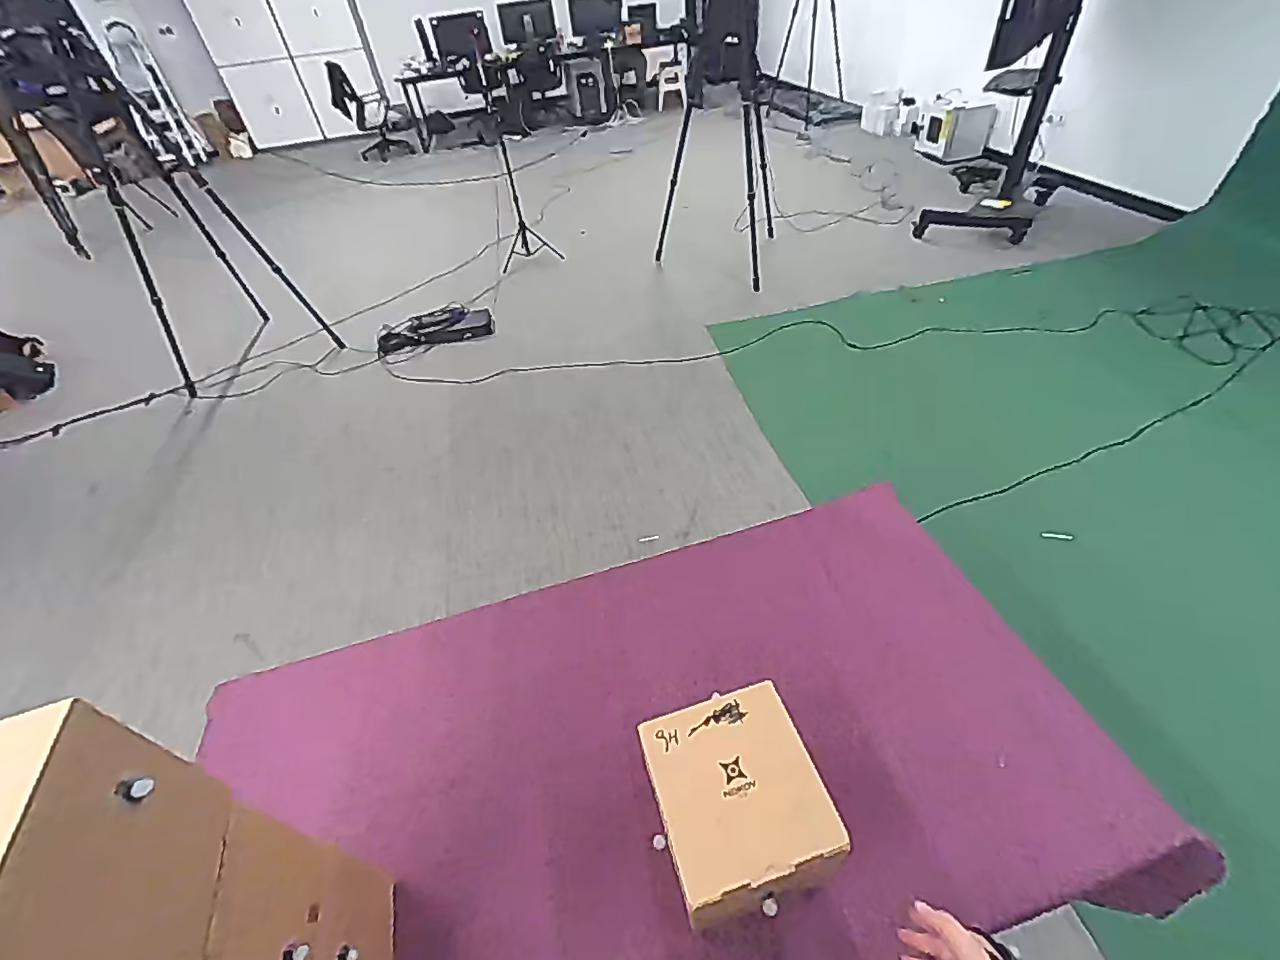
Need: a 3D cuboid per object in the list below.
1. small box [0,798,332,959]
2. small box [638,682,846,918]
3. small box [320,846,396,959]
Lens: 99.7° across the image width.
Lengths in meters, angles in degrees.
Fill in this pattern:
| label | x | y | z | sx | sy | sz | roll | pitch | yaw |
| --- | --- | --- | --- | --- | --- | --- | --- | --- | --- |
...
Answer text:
| label | x | y | z | sx | sy | sz | roll | pitch | yaw |
| --- | --- | --- | --- | --- | --- | --- | --- | --- | --- |
| small box | -0.377 | 0.392 | 0.425 | 0.179 | 0.176 | 0.168 | -16 | 45 | -12 |
| small box | 0.106 | 0.369 | 0.618 | 0.168 | 0.176 | 0.179 | -15 | 45 | -8 |
| small box | -0.358 | 0.508 | 0.537 | 0.168 | 0.176 | 0.179 | -15 | 44 | -10 |
